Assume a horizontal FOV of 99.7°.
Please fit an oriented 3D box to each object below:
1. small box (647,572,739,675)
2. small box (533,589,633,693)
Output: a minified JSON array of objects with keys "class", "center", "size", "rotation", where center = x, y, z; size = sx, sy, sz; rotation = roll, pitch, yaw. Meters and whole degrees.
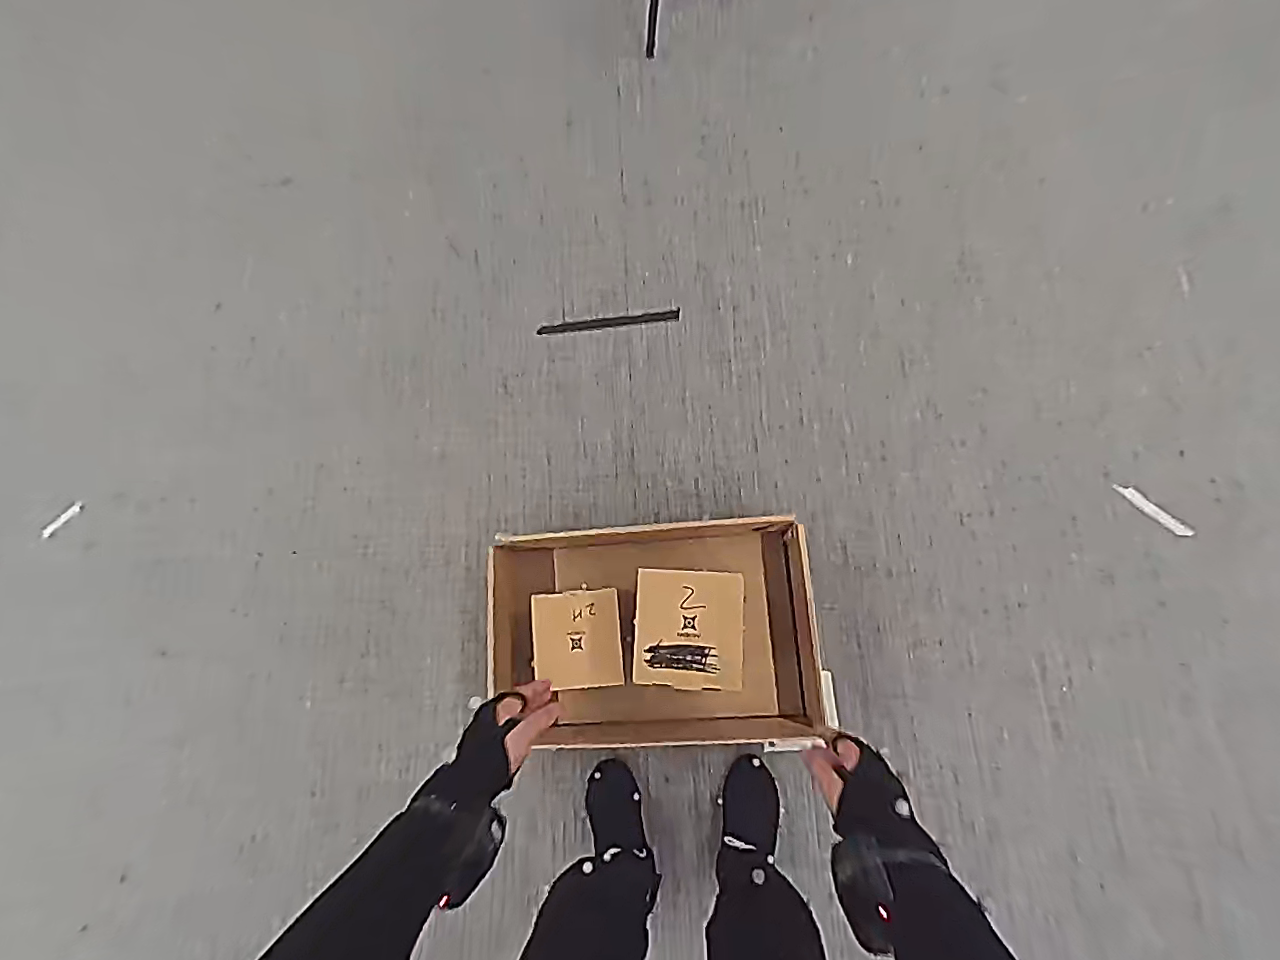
[{"class":"small box","center":[0.107,0.274,1.053],"size":[0.168,0.176,0.179],"rotation":[-1,79,9]},{"class":"small box","center":[-0.107,0.309,1.067],"size":[0.168,0.176,0.179],"rotation":[-6,77,3]}]
